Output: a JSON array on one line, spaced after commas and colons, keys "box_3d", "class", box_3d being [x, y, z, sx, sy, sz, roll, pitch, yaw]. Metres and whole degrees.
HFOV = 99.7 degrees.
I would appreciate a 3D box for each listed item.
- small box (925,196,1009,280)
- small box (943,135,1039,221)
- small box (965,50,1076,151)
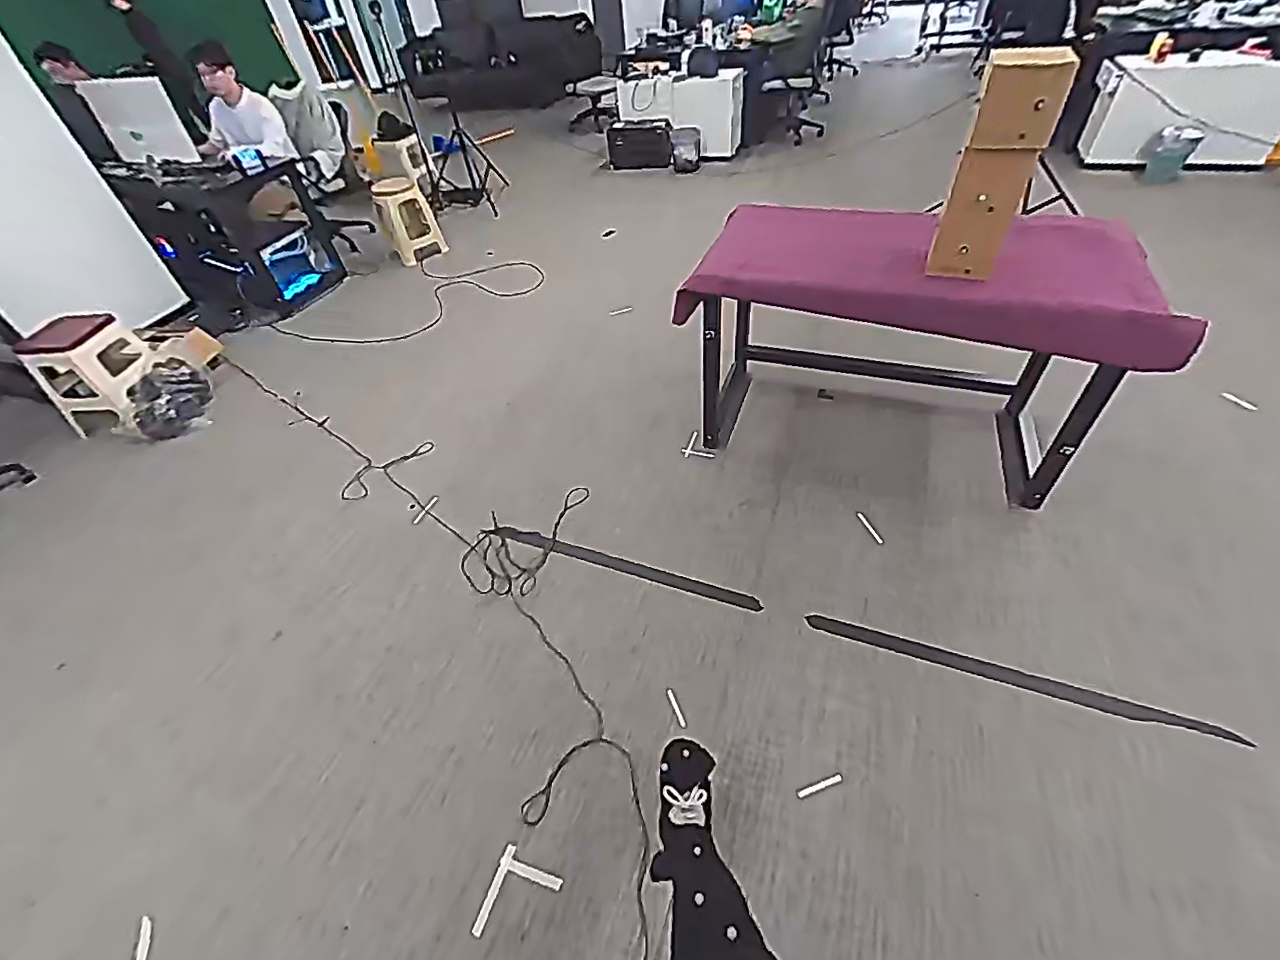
[{"box_3d": [0.922, -0.685, 1.532, 0.168, 0.176, 0.179, 15, 49, 20], "class": "small box"}, {"box_3d": [0.913, -0.802, 1.417, 0.168, 0.176, 0.179, 14, 49, 20], "class": "small box"}, {"box_3d": [0.893, -0.900, 1.288, 0.168, 0.176, 0.179, 12, 48, 17], "class": "small box"}]
